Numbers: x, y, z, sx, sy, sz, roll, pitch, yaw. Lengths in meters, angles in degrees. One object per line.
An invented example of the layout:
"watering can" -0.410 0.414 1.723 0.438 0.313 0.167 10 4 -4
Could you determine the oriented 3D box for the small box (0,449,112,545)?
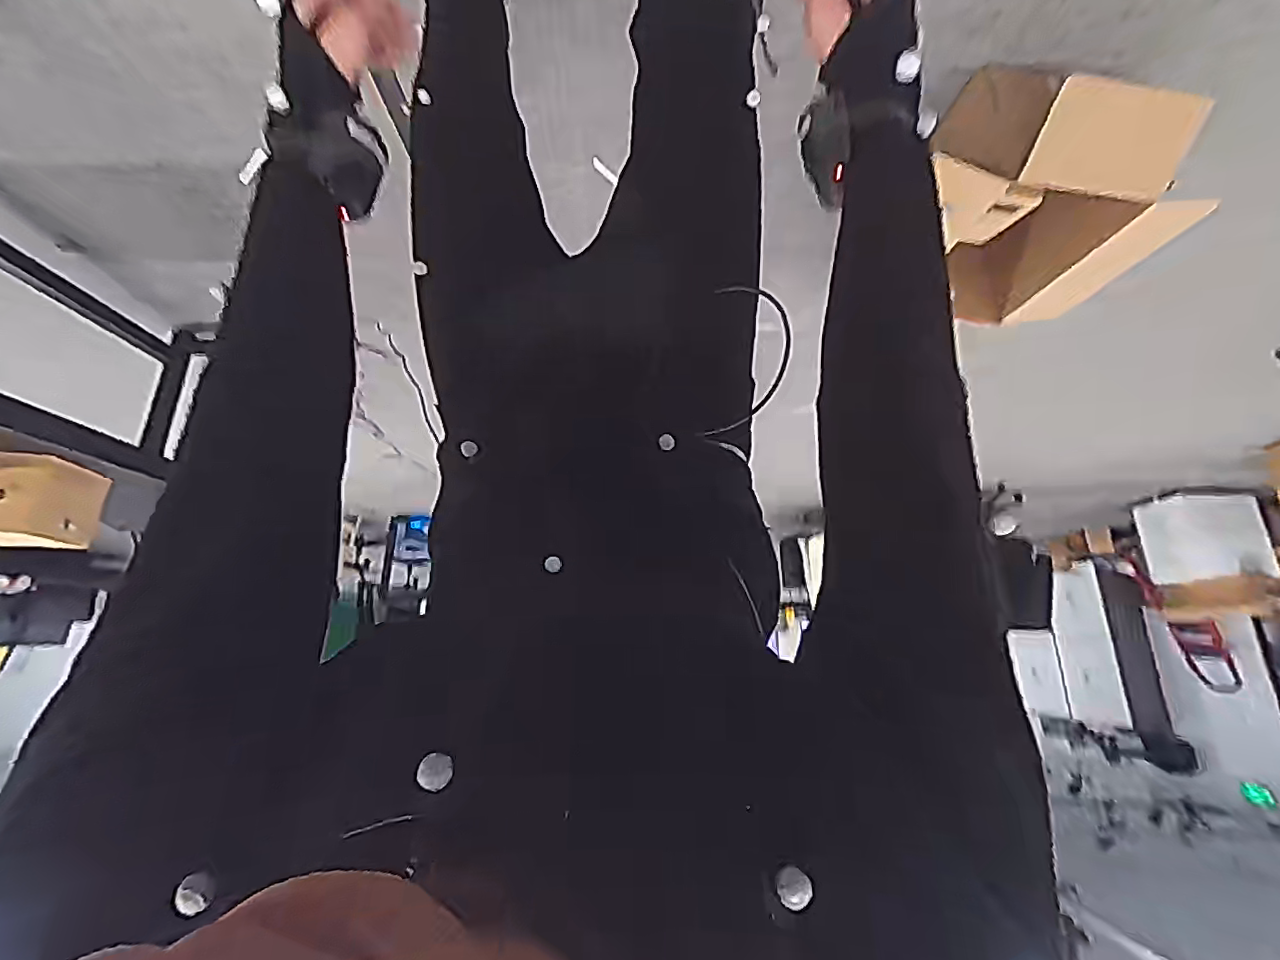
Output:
"small box" -1.279 0.039 1.136 0.168 0.176 0.179 4 163 -11
